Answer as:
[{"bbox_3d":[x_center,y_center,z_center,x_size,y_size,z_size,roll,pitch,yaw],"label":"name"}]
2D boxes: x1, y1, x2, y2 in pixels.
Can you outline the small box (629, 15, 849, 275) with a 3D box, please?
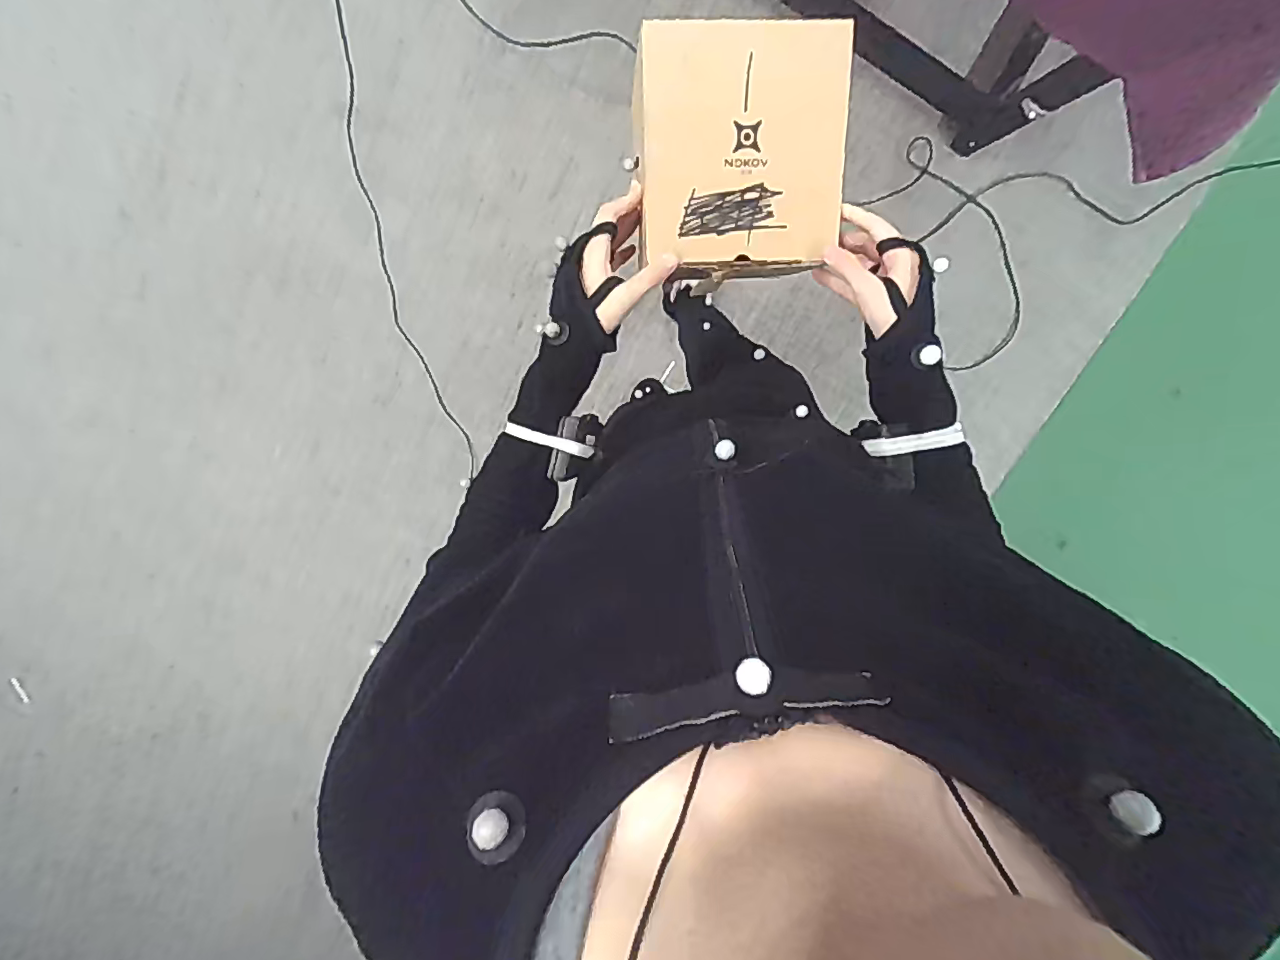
[{"bbox_3d":[0.077,-0.292,0.512,0.168,0.176,0.179,-2,105,-3],"label":"small box"}]
